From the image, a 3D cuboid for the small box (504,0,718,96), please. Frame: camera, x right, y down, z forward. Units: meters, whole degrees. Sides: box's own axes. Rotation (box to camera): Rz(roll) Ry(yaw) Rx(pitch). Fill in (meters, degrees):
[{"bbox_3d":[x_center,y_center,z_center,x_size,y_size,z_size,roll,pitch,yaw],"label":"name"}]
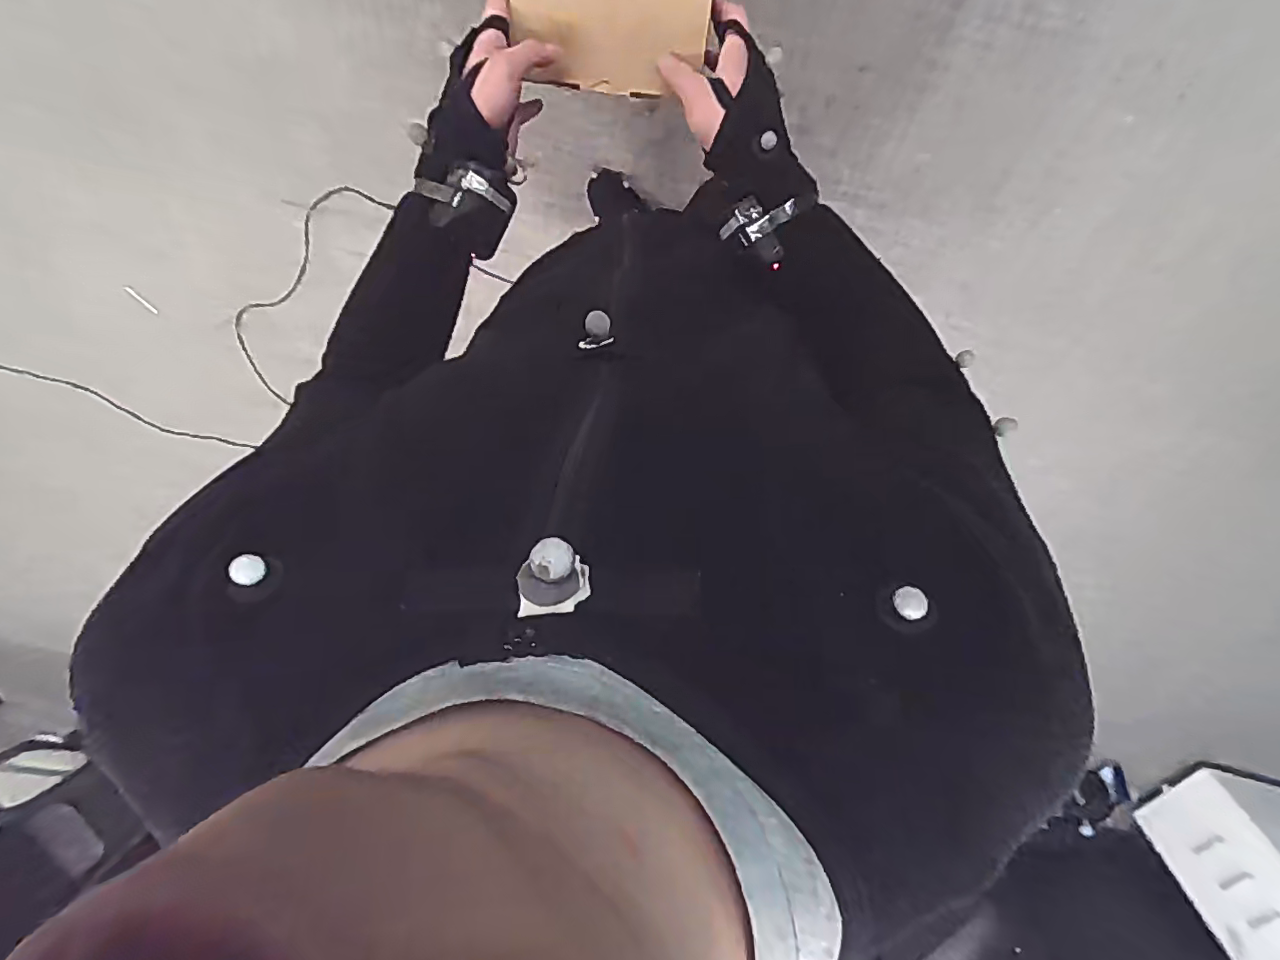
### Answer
[{"bbox_3d":[-0.013,-0.448,0.462,0.168,0.176,0.179,8,127,1],"label":"small box"}]
